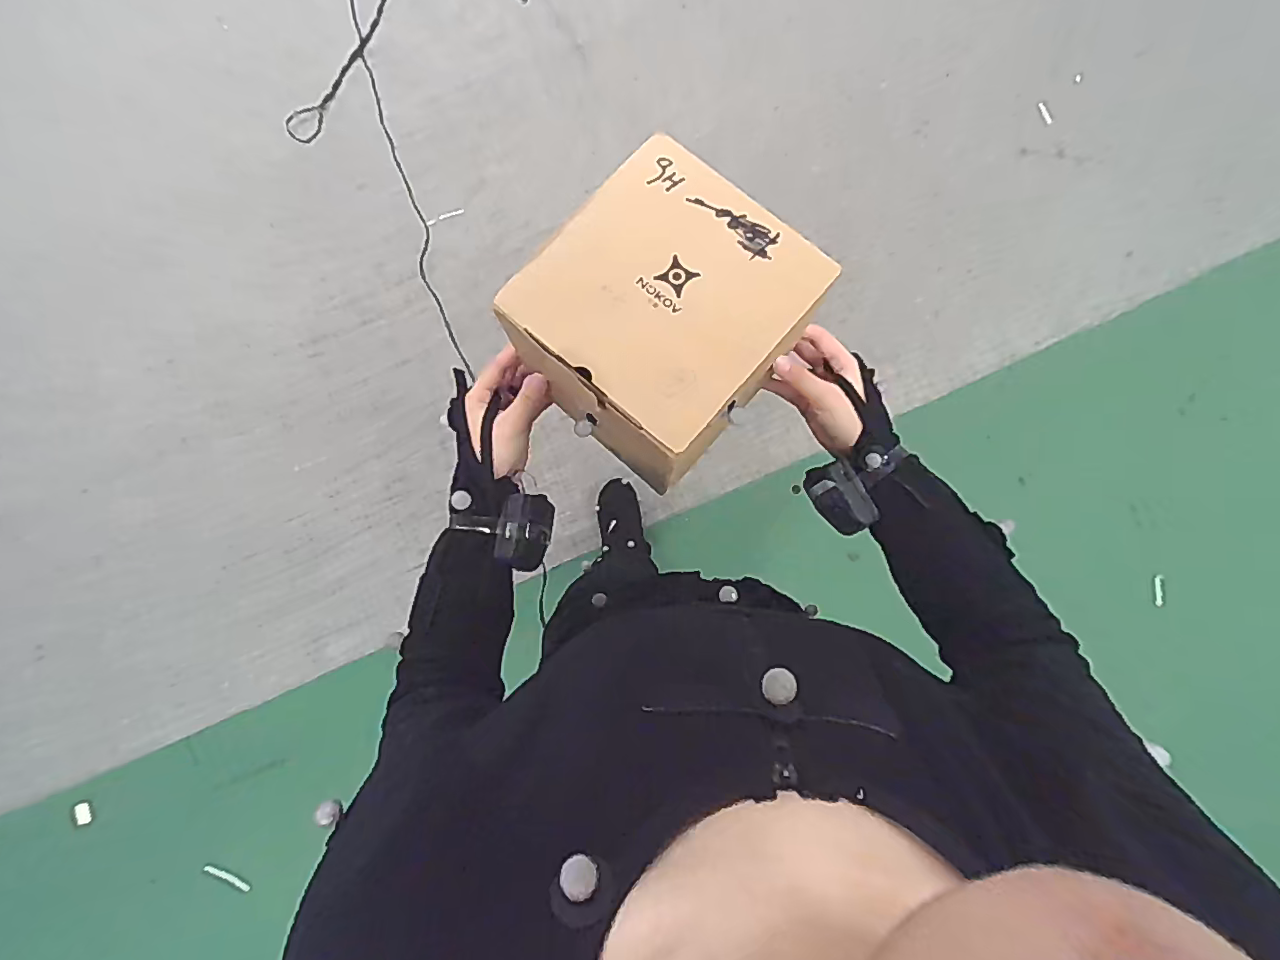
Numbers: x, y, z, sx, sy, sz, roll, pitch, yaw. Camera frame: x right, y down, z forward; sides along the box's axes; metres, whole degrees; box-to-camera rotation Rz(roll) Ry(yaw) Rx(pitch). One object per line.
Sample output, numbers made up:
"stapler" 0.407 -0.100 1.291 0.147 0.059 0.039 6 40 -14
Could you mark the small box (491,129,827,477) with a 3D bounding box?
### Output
"small box" 0.015 -0.123 0.446 0.168 0.176 0.179 40 83 7
